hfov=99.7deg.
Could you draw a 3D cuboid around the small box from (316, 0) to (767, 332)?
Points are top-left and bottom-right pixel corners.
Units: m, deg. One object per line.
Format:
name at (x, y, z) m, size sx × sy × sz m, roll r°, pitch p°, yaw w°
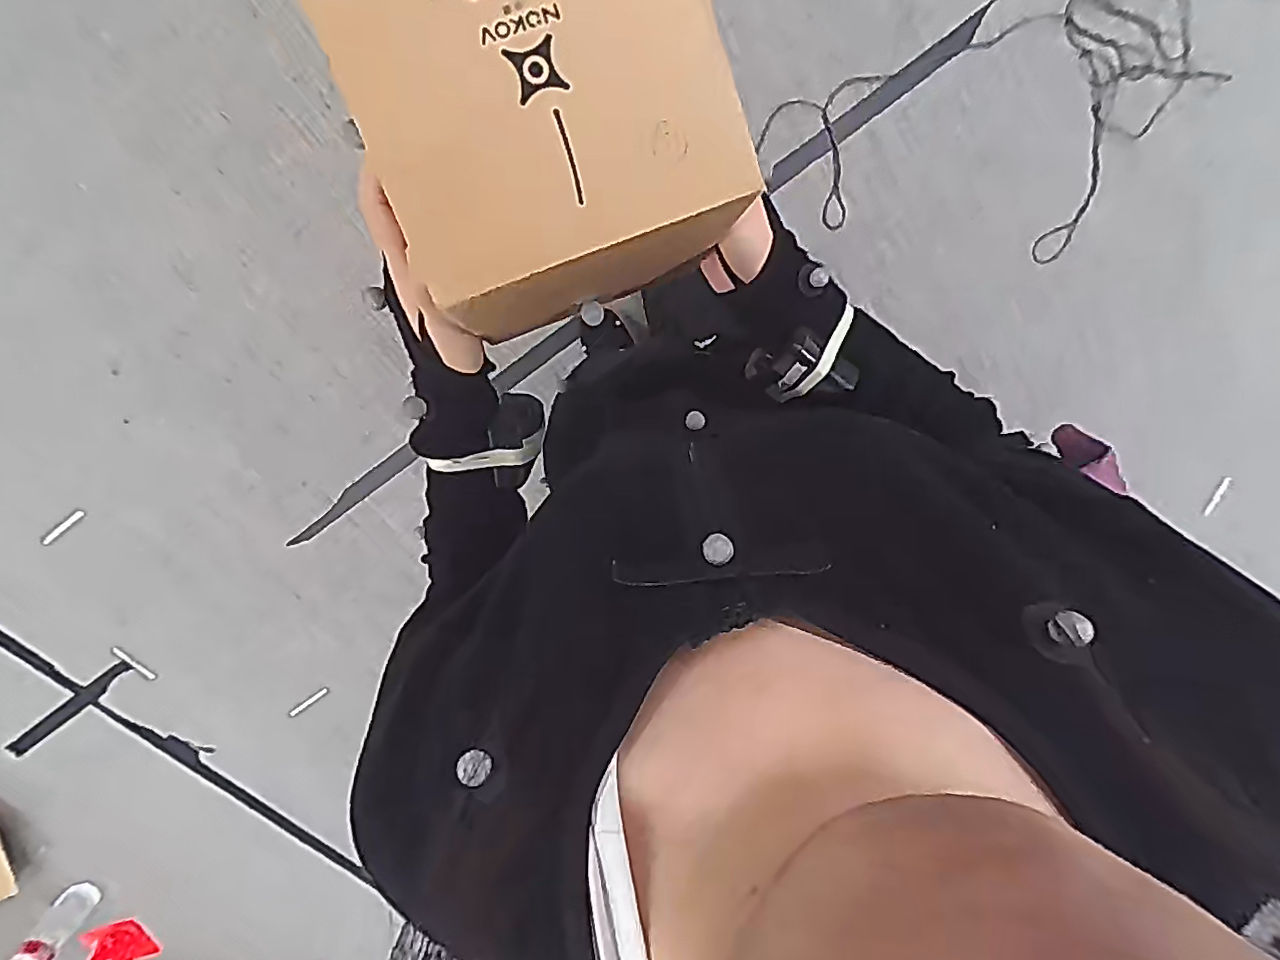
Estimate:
small box at (-0.054, -0.202, 0.309) m, size 0.168 × 0.176 × 0.179 m, roll -21°, pitch 101°, yaw -3°
